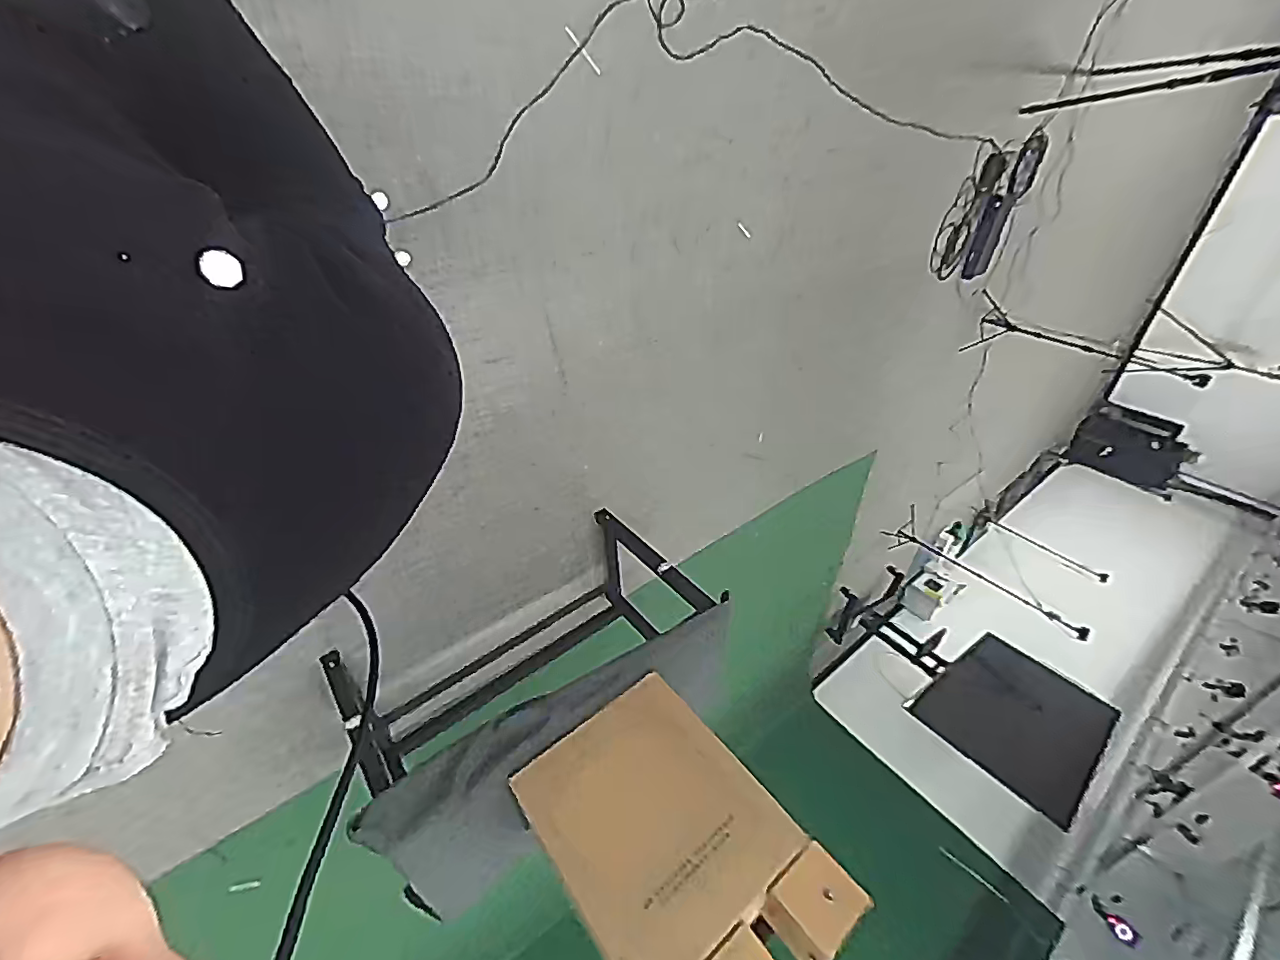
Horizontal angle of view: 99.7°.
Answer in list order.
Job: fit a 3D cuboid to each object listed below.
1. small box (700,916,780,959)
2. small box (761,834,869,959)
[{"bbox_3d":[0.237,1.145,1.226,0.168,0.176,0.179,-29,134,-28],"label":"small box"},{"bbox_3d":[0.428,1.033,1.340,0.179,0.176,0.168,-27,133,-32],"label":"small box"}]
